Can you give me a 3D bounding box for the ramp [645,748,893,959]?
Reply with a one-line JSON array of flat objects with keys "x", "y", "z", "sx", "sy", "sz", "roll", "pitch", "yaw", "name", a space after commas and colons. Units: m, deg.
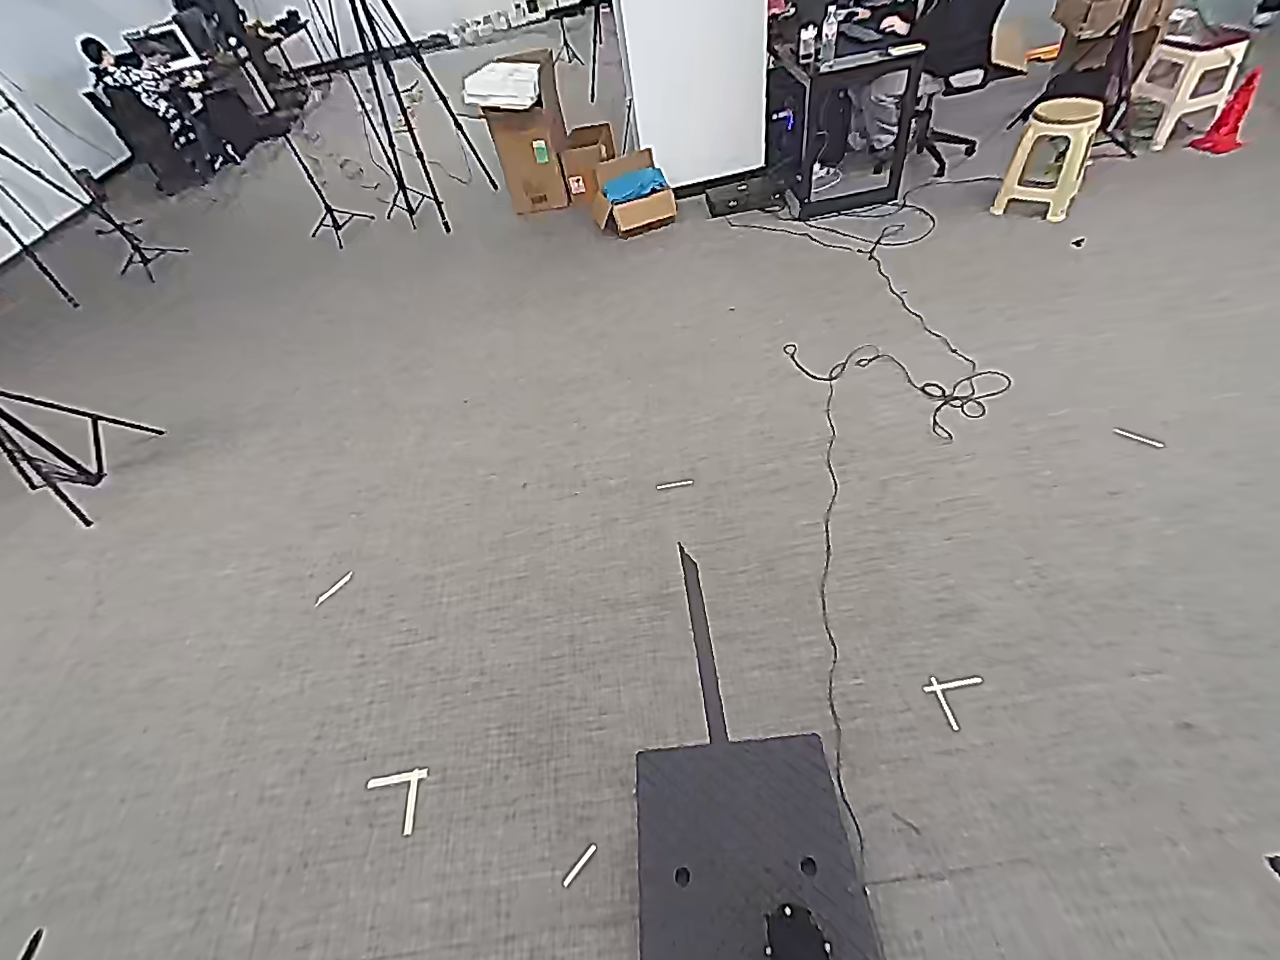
[{"x": 0.266, "y": 1.043, "z": 1.040, "sx": 0.509, "sy": 0.206, "sz": 0.991, "roll": -12, "pitch": 46, "yaw": 4, "name": "ramp"}]
